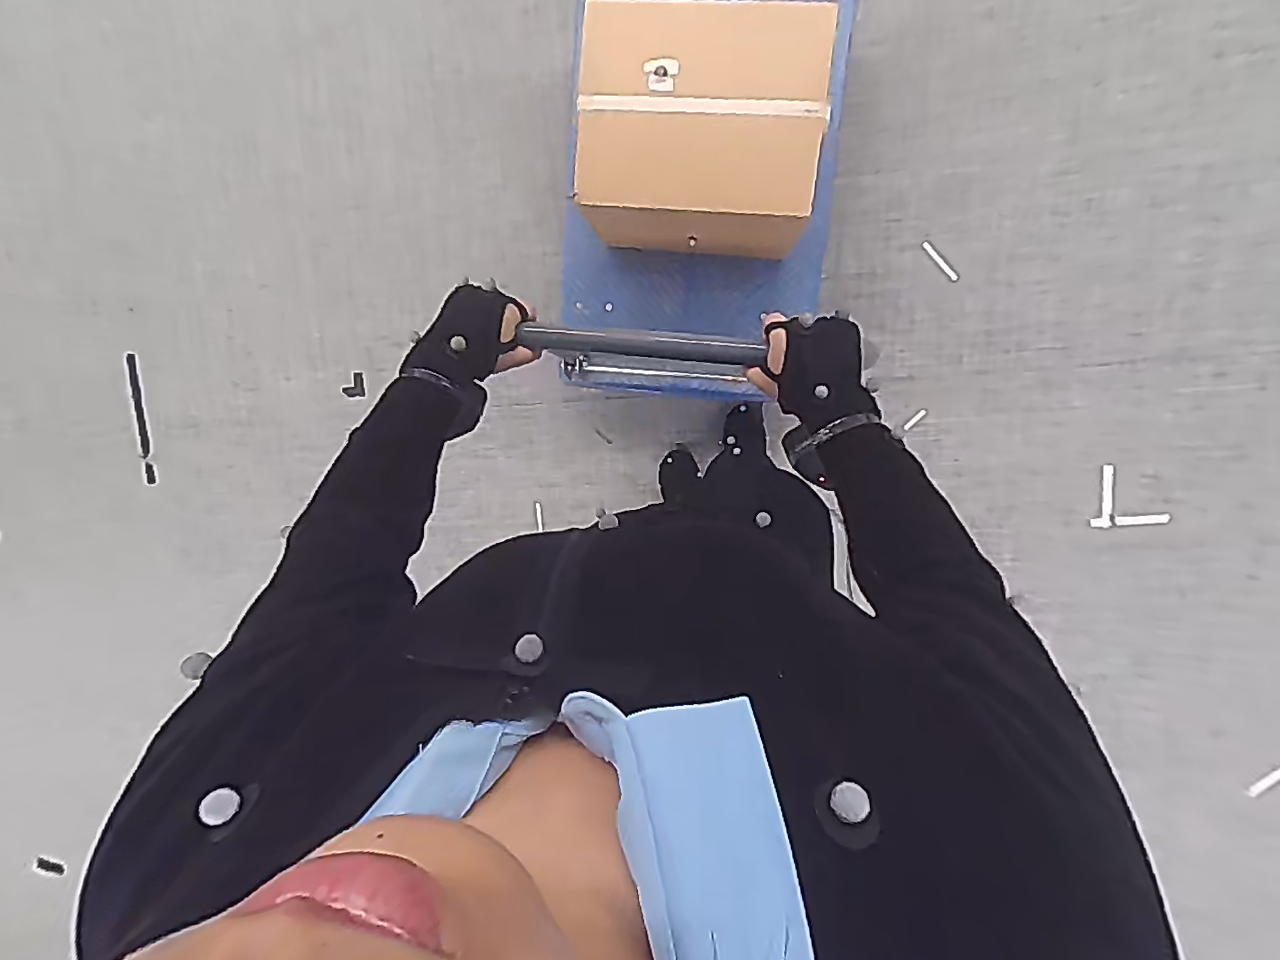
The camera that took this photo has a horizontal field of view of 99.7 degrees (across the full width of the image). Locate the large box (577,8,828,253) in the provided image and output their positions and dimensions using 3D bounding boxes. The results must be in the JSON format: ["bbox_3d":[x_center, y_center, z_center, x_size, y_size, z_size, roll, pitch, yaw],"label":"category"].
[{"bbox_3d":[0.117,-0.642,1.052,0.408,0.320,0.320,6,100,7],"label":"large box"}]
